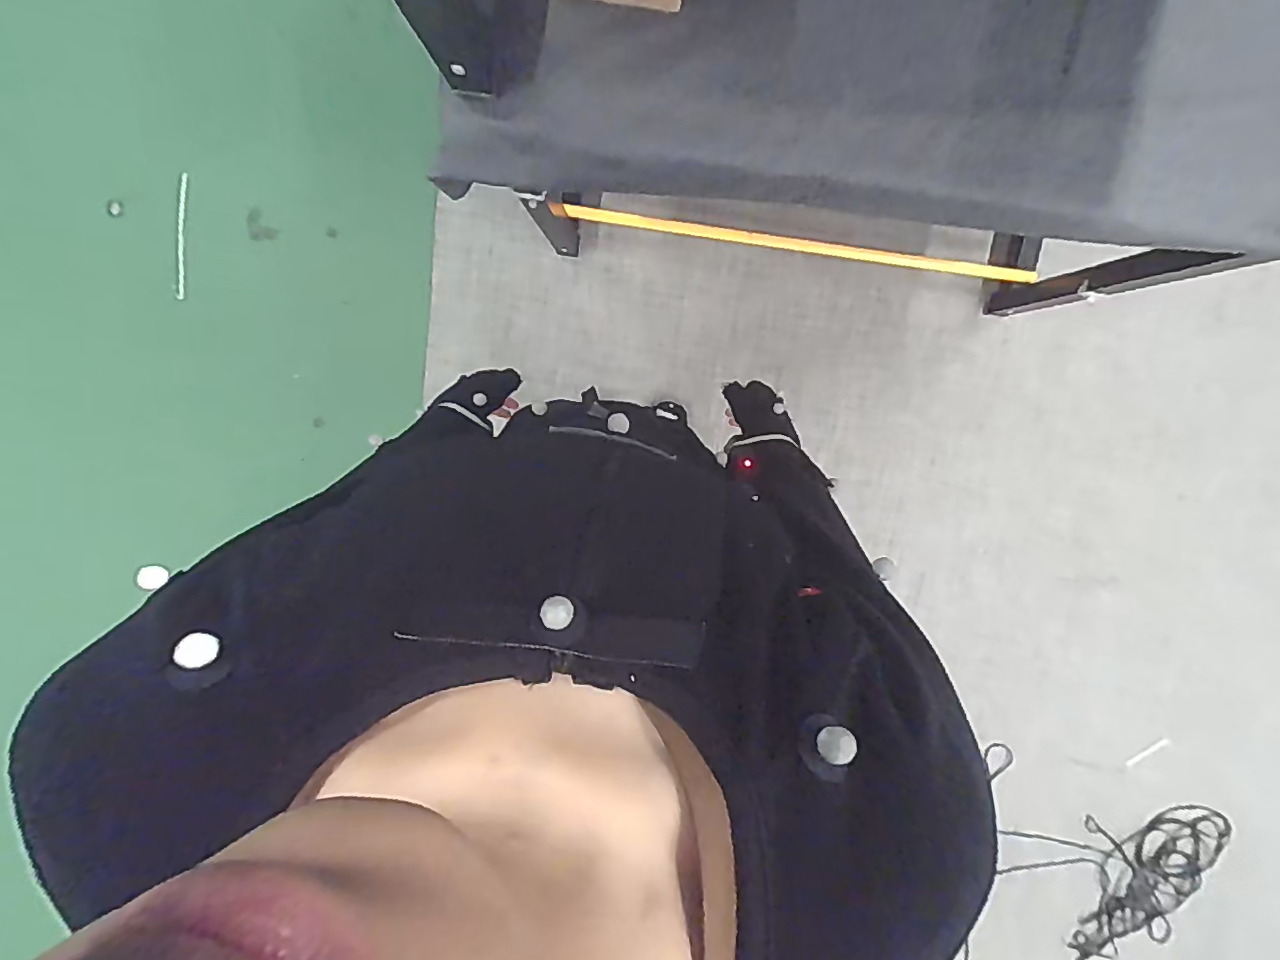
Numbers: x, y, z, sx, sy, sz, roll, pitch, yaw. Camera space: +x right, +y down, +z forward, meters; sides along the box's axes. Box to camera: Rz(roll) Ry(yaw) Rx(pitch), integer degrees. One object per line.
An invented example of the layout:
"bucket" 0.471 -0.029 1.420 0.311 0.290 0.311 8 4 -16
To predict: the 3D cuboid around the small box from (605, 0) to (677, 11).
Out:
"small box" -0.024 -0.652 0.562 0.168 0.176 0.179 8 100 -1
